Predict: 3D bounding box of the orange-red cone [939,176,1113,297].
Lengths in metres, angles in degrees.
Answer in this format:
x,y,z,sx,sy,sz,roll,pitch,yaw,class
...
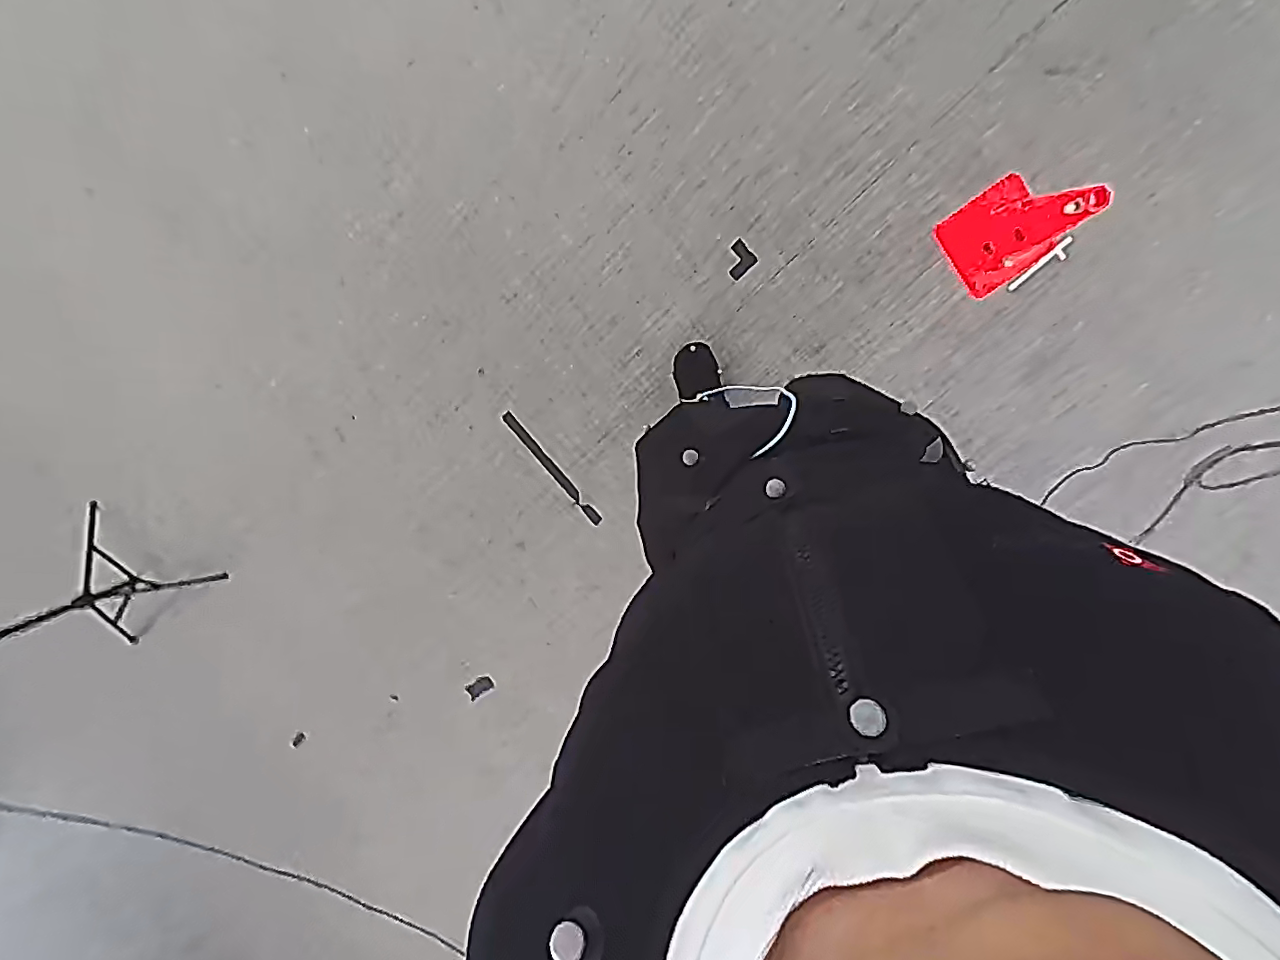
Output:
x,y,z,sx,sy,sz,roll,pitch,yaw,class
0.769,-0.502,1.041,0.198,0.360,0.199,-34,95,14,orange-red cone
